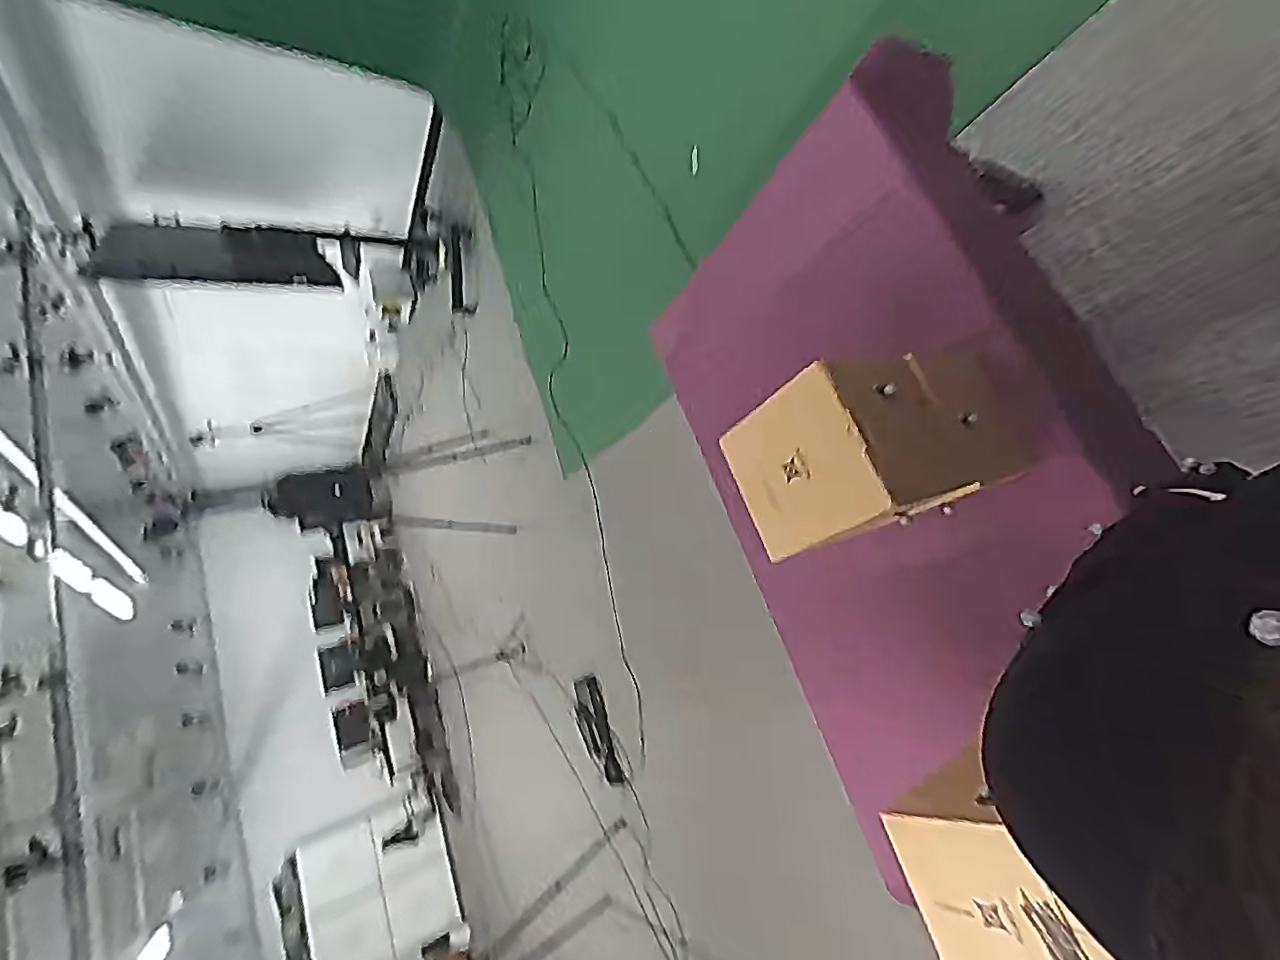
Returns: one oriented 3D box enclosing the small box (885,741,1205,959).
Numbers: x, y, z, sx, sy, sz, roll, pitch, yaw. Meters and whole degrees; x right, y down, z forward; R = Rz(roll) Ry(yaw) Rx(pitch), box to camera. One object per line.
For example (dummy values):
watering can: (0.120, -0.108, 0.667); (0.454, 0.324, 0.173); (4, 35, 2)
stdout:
small box: (0.389, 0.370, 0.525); (0.179, 0.176, 0.168); (-42, 64, 52)

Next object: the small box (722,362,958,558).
small box: (0.235, -0.026, 0.635); (0.179, 0.176, 0.168); (-42, 64, 51)

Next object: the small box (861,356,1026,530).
small box: (0.370, -0.053, 0.725); (0.168, 0.176, 0.179); (-37, 68, 51)
